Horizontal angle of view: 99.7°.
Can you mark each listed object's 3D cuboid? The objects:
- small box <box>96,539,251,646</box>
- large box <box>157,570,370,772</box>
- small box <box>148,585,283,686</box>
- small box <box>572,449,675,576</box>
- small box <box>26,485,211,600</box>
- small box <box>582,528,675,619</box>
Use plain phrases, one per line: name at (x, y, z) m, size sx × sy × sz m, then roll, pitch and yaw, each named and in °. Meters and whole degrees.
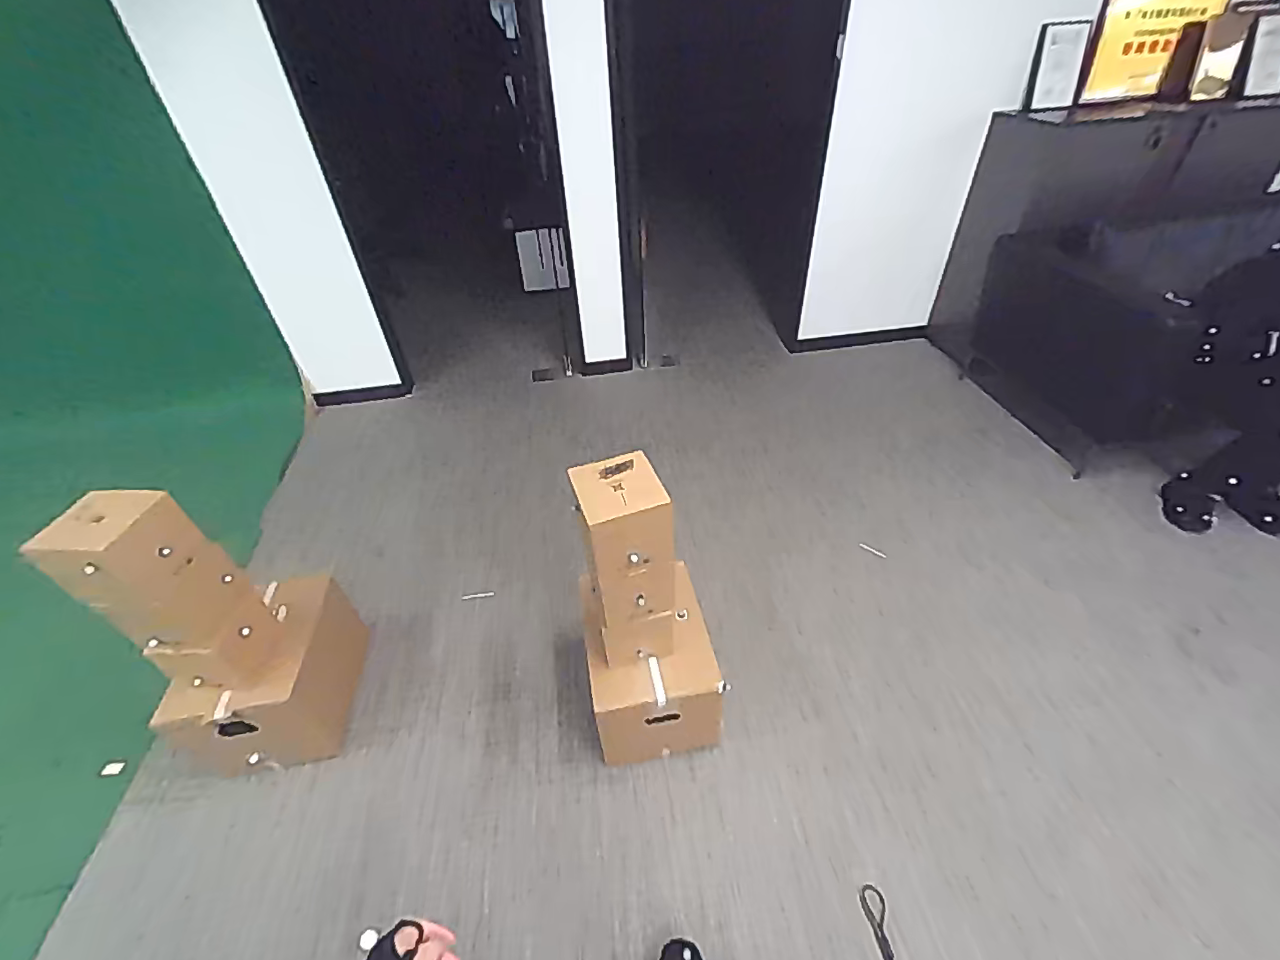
small box at (-1.028, 0.249, 1.217) m, size 0.168 × 0.176 × 0.179 m, roll 0°, pitch 42°, yaw 6°
large box at (-1.005, 0.526, 1.515) m, size 0.320 × 0.320 × 0.408 m, roll -8°, pitch 40°, yaw -6°
small box at (-1.013, 0.377, 1.317) m, size 0.168 × 0.176 × 0.179 m, roll -1°, pitch 41°, yaw 3°
small box at (-0.035, 0.066, 1.111) m, size 0.168 × 0.176 × 0.179 m, roll -16°, pitch 43°, yaw -11°
small box at (-1.044, 0.129, 1.105) m, size 0.179 × 0.176 × 0.168 m, roll 1°, pitch 41°, yaw 6°
small box at (-0.024, 0.192, 1.219) m, size 0.168 × 0.176 × 0.179 m, roll -15°, pitch 43°, yaw -11°
